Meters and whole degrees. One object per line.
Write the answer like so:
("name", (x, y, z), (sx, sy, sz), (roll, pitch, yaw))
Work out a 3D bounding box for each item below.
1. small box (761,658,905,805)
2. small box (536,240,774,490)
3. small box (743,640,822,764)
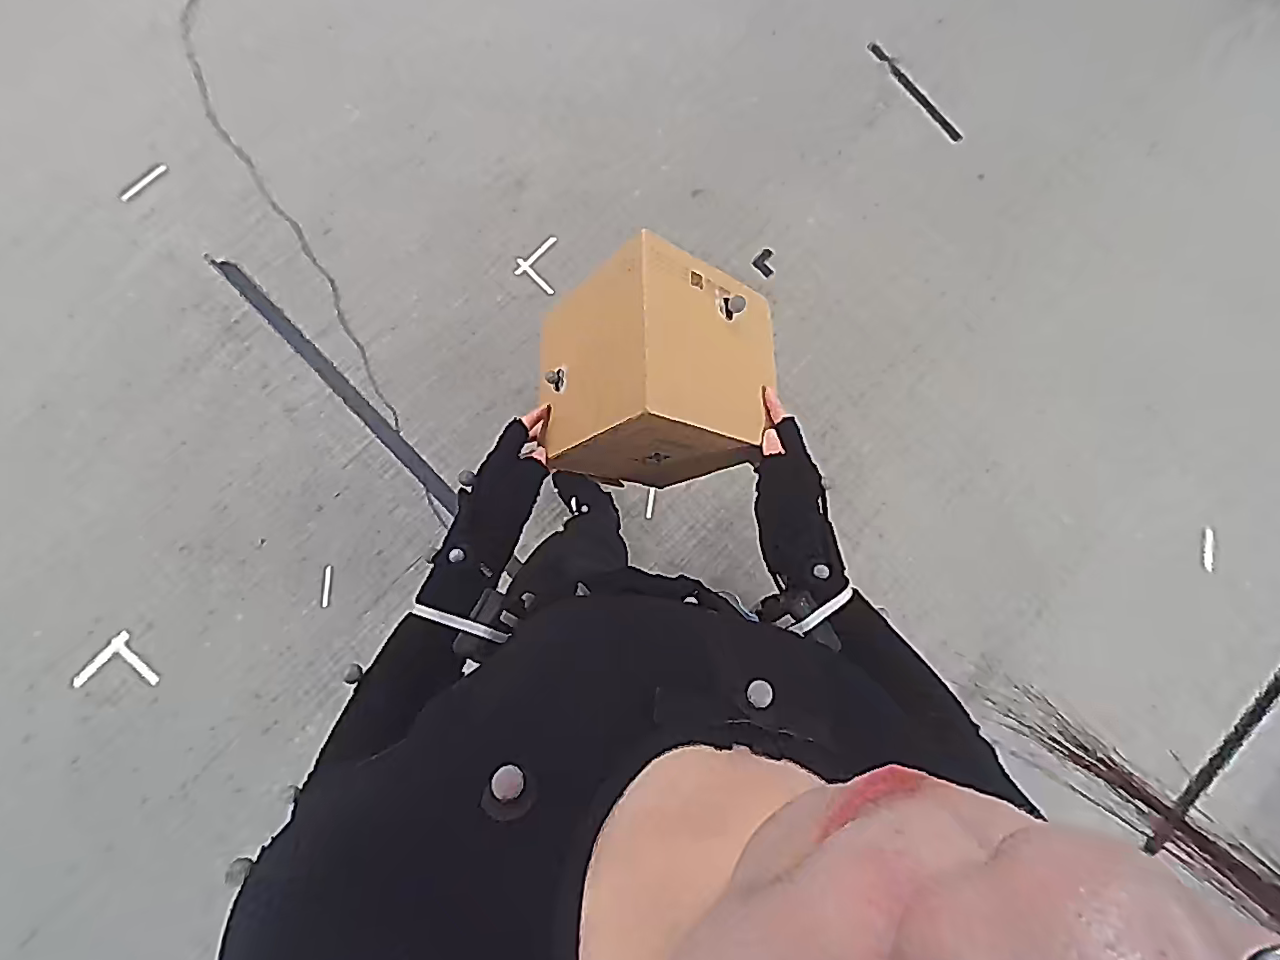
("small box", (0.372, 0.486, 1.076), (0.168, 0.176, 0.179), (-42, 91, -5))
("small box", (0.010, -0.098, 0.542), (0.168, 0.179, 0.176), (9, 71, -37))
("small box", (0.357, 0.497, 1.239), (0.179, 0.176, 0.168), (-40, 90, -6))
